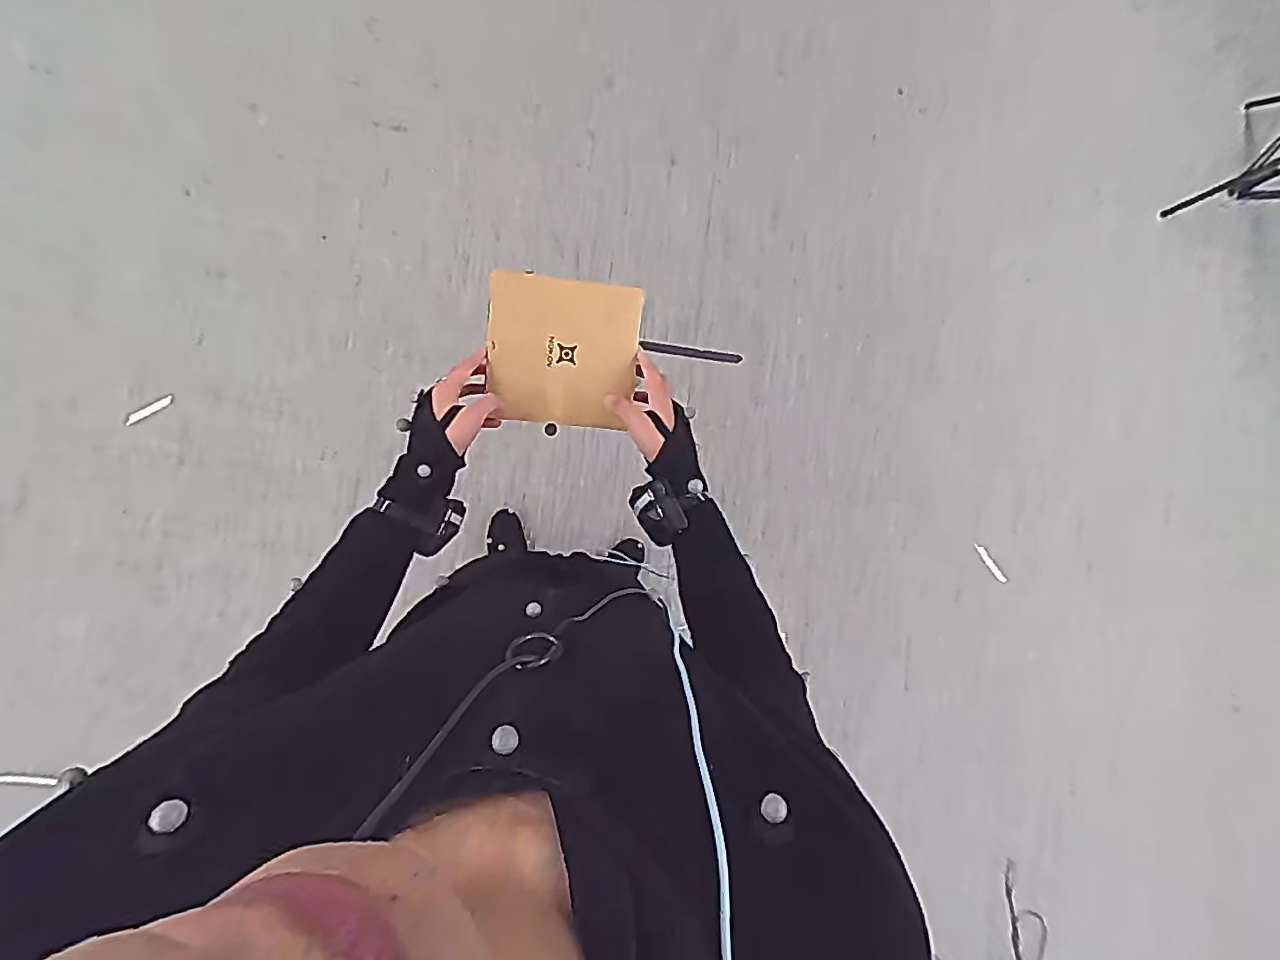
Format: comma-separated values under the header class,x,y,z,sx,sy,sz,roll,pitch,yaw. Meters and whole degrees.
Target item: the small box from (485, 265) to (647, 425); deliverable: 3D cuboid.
class,x,y,z,sx,sy,sz,roll,pitch,yaw
small box,-0.095,-0.168,0.702,0.179,0.176,0.168,5,100,-7
